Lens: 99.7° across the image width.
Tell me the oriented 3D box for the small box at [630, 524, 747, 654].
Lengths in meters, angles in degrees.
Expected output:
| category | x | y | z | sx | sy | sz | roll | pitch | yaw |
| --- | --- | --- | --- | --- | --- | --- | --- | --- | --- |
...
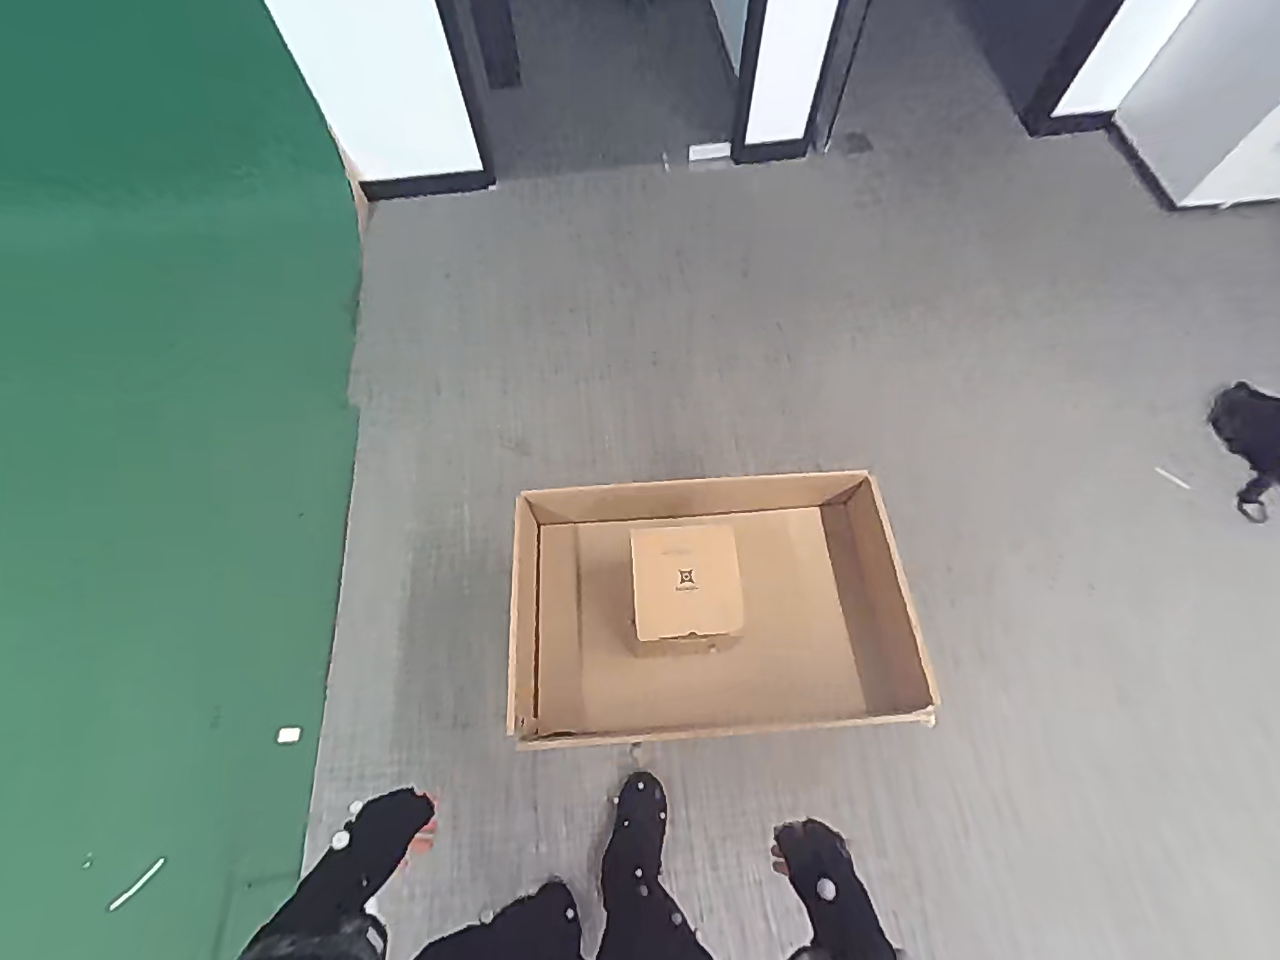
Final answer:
| category | x | y | z | sx | sy | sz | roll | pitch | yaw |
| --- | --- | --- | --- | --- | --- | --- | --- | --- | --- |
| small box | 0.071 | 0.188 | 0.900 | 0.168 | 0.176 | 0.179 | -3 | 63 | -3 |
